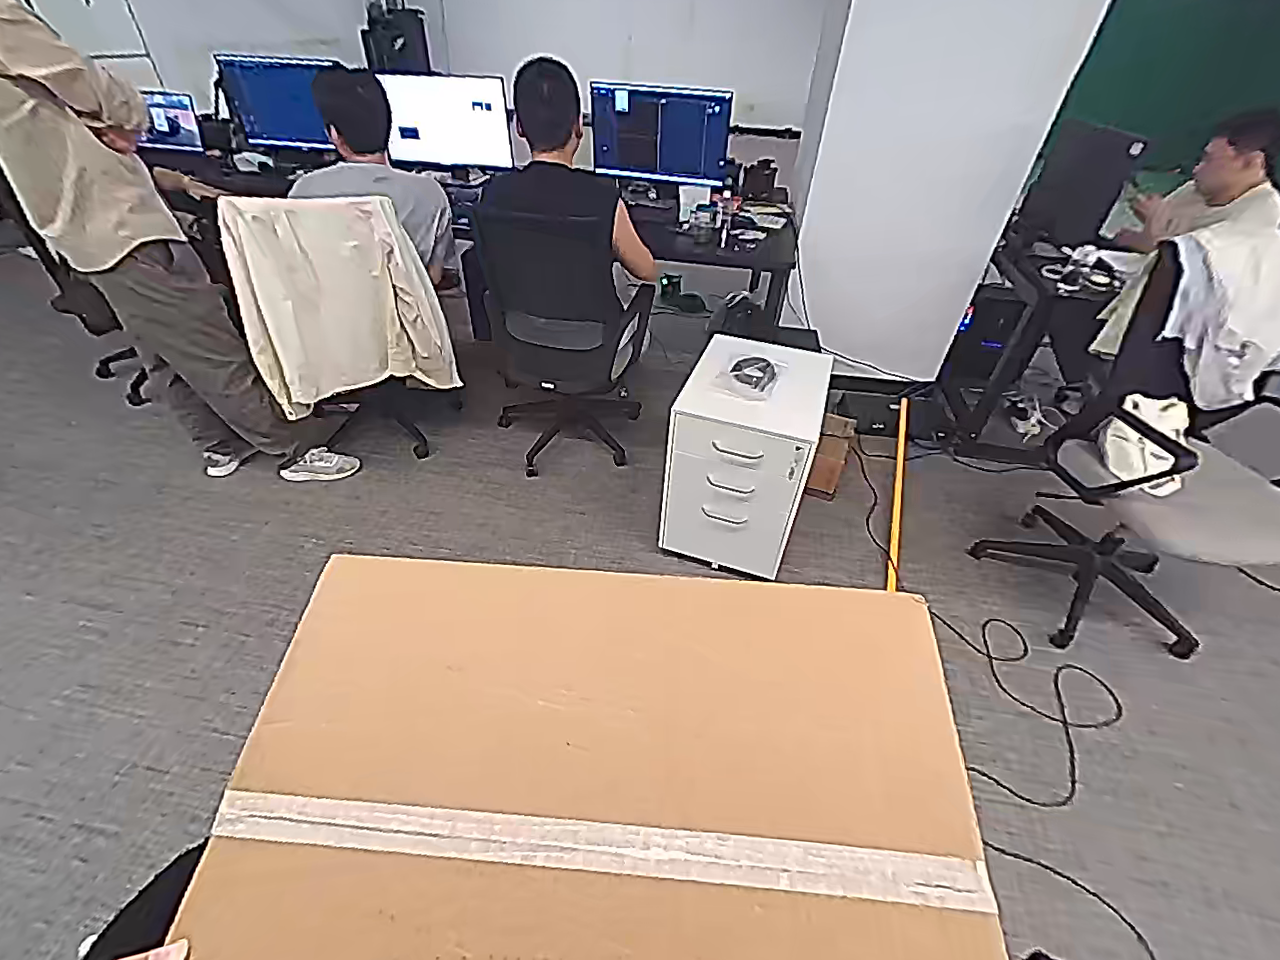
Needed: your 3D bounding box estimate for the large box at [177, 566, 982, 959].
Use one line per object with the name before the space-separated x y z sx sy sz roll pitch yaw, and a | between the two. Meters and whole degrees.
large box | -0.026 0.280 0.416 0.408 0.320 0.320 3 57 4
